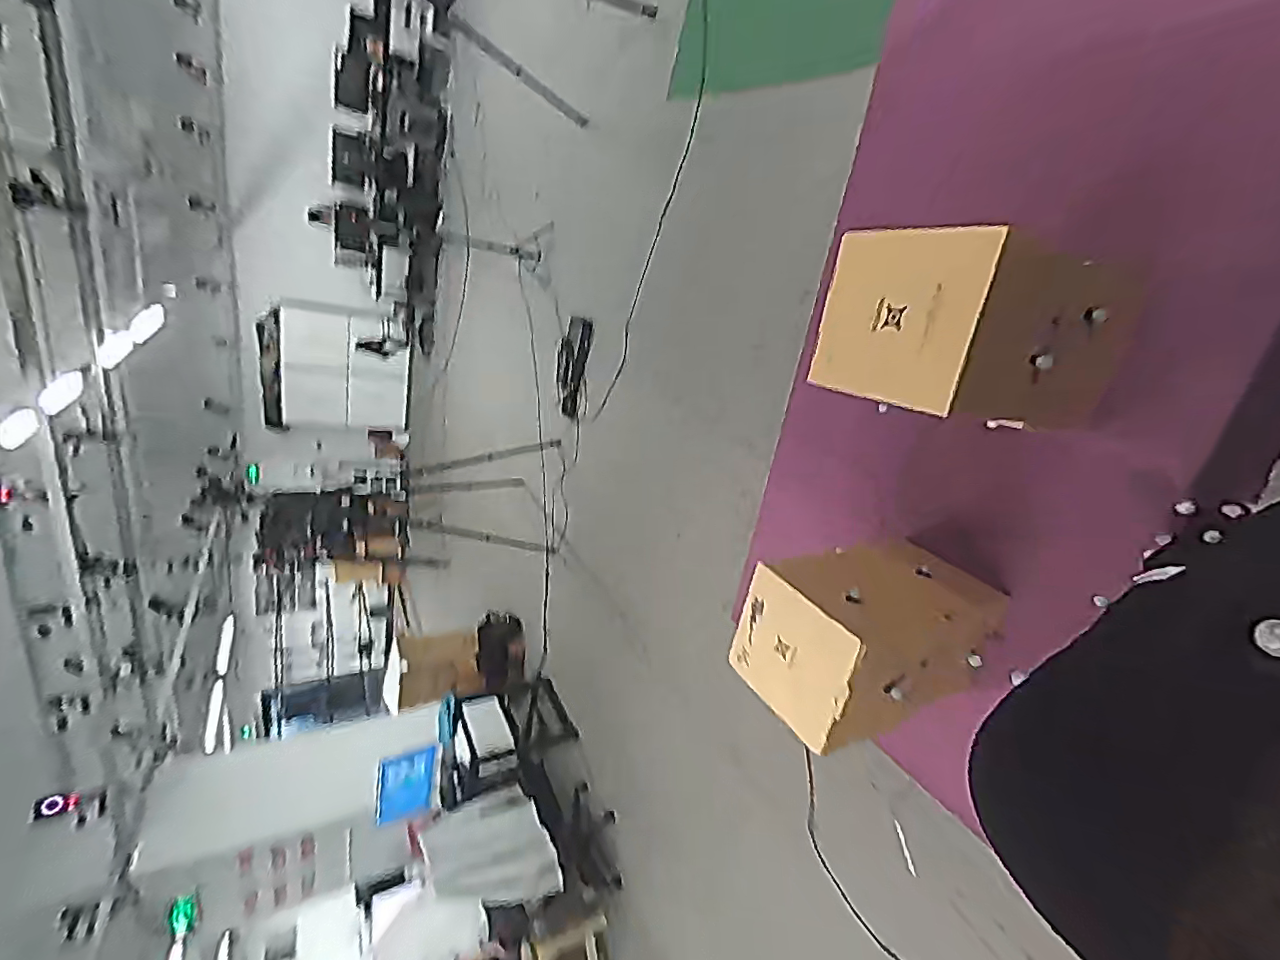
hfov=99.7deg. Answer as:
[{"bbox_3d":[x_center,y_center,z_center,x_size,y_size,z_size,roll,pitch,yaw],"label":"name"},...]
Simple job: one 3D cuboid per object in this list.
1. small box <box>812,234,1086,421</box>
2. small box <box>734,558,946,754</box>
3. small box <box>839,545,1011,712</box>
[{"bbox_3d":[0.329,-0.163,0.593,0.179,0.176,0.168,34,120,53],"label":"small box"},{"bbox_3d":[0.259,0.214,0.712,0.179,0.176,0.168,38,121,51],"label":"small box"},{"bbox_3d":[0.396,0.206,0.803,0.179,0.176,0.168,37,122,51],"label":"small box"}]
